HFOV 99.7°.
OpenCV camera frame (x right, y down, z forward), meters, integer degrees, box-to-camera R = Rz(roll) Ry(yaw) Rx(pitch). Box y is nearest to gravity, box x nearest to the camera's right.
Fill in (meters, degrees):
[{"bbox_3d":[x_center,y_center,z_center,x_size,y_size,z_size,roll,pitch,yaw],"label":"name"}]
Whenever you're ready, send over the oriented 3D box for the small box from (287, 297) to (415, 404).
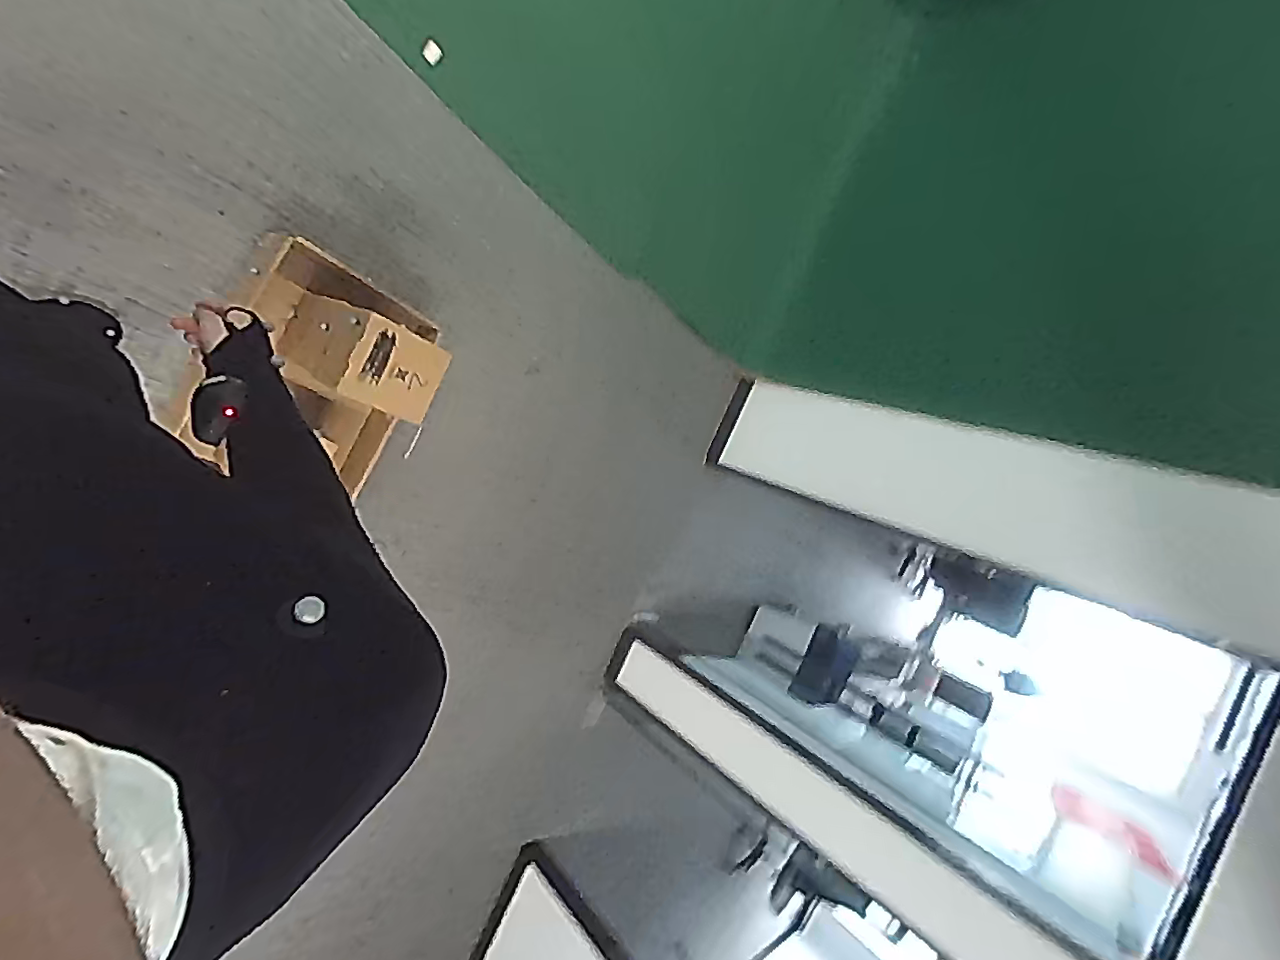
[{"bbox_3d":[-0.652,-0.294,1.219,0.179,0.176,0.168,27,88,-50],"label":"small box"}]
